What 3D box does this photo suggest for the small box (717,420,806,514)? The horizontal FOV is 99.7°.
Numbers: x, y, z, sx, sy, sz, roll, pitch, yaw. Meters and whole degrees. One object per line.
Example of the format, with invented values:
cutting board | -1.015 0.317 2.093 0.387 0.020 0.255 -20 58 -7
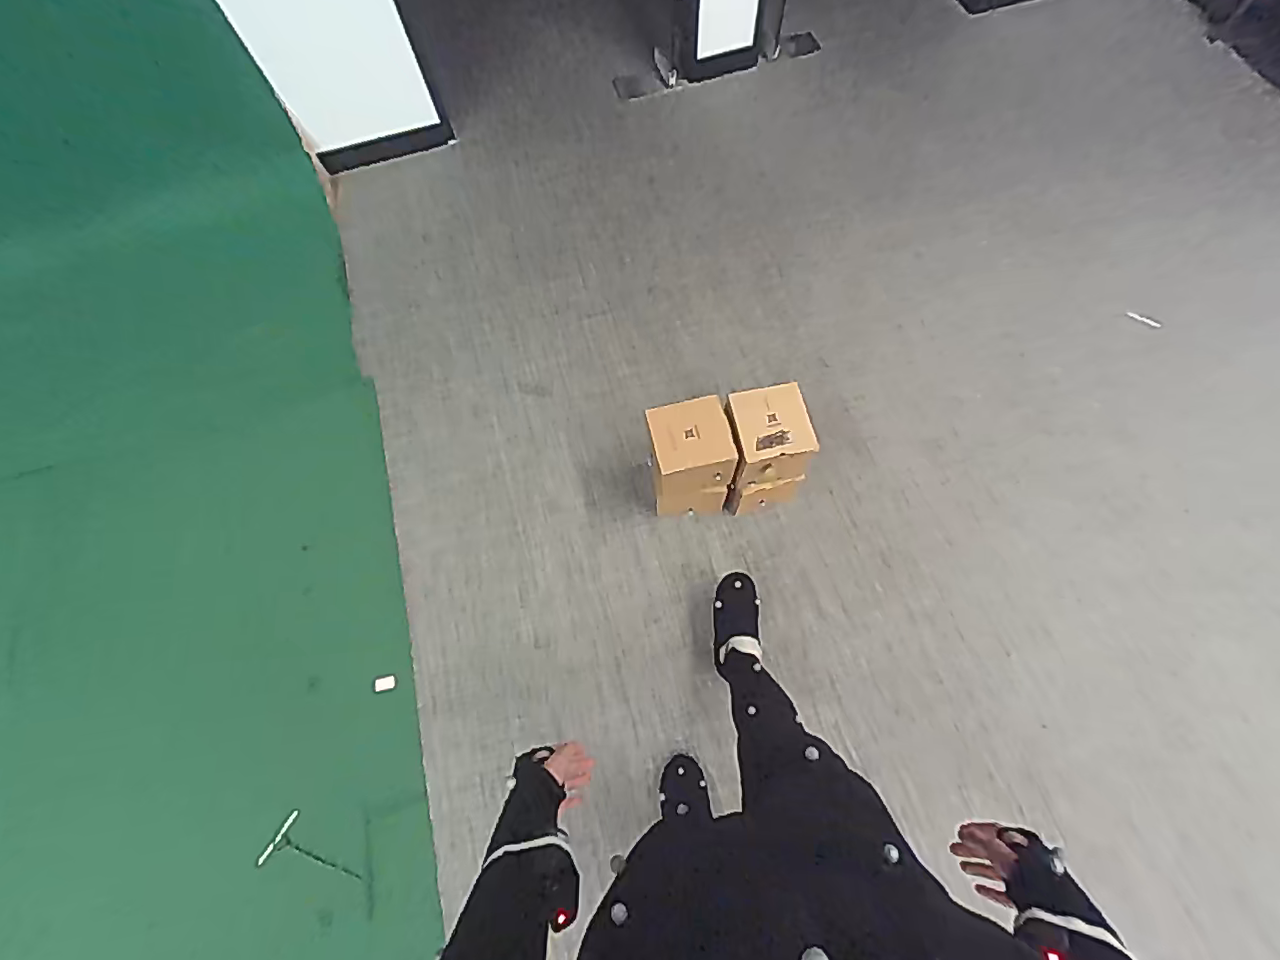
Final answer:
small box | 0.311 -0.030 1.424 0.168 0.176 0.179 -16 70 -4
